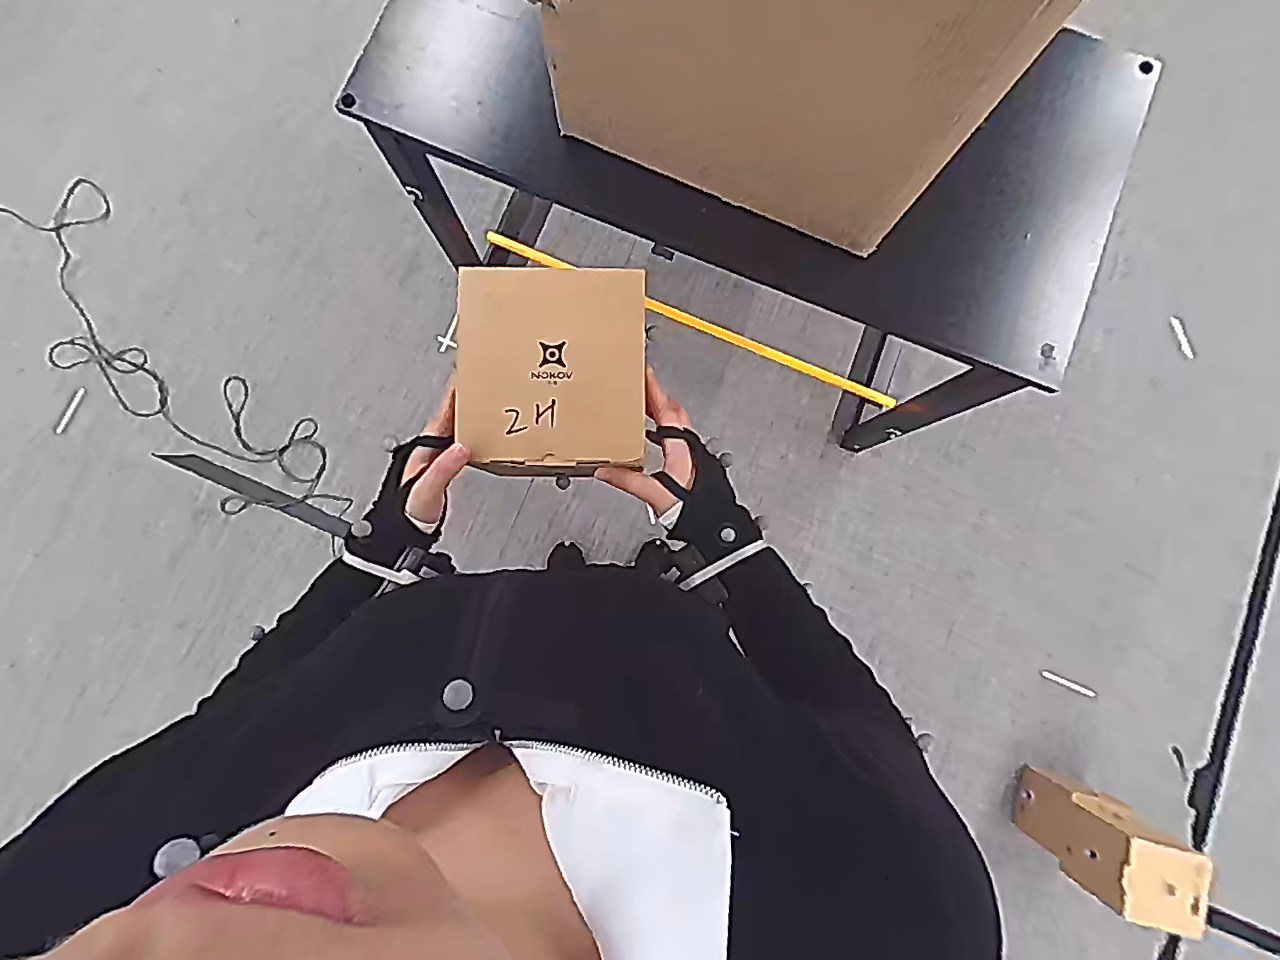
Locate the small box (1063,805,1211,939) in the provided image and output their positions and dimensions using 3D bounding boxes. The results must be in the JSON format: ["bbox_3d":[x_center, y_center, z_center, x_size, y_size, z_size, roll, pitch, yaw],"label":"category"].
[{"bbox_3d":[1.101,0.862,1.211,0.179,0.176,0.168,15,83,1],"label":"small box"}]

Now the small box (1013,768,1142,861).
[{"bbox_3d":[1.105,0.865,1.376,0.179,0.176,0.168,16,83,2],"label":"small box"}]

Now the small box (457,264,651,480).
[{"bbox_3d":[-0.075,-0.095,0.547,0.168,0.176,0.179,0,86,-1],"label":"small box"}]
